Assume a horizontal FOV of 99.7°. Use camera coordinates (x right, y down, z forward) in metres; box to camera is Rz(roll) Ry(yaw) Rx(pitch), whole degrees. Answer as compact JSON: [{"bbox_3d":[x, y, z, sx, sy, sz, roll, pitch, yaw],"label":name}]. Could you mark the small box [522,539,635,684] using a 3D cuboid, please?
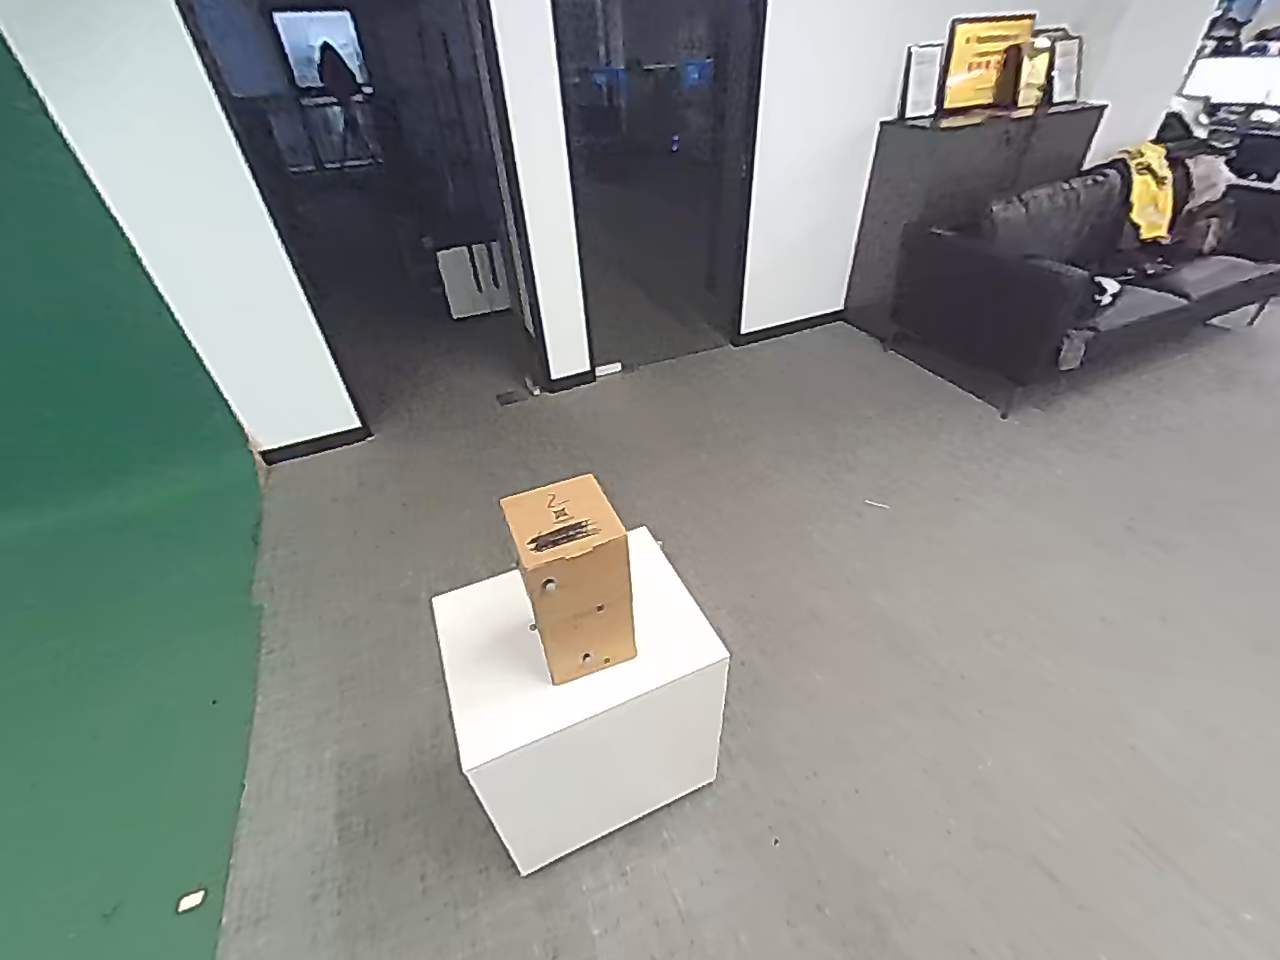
[{"bbox_3d":[-0.115,0.246,1.018,0.168,0.176,0.179,-16,40,-15],"label":"small box"}]
